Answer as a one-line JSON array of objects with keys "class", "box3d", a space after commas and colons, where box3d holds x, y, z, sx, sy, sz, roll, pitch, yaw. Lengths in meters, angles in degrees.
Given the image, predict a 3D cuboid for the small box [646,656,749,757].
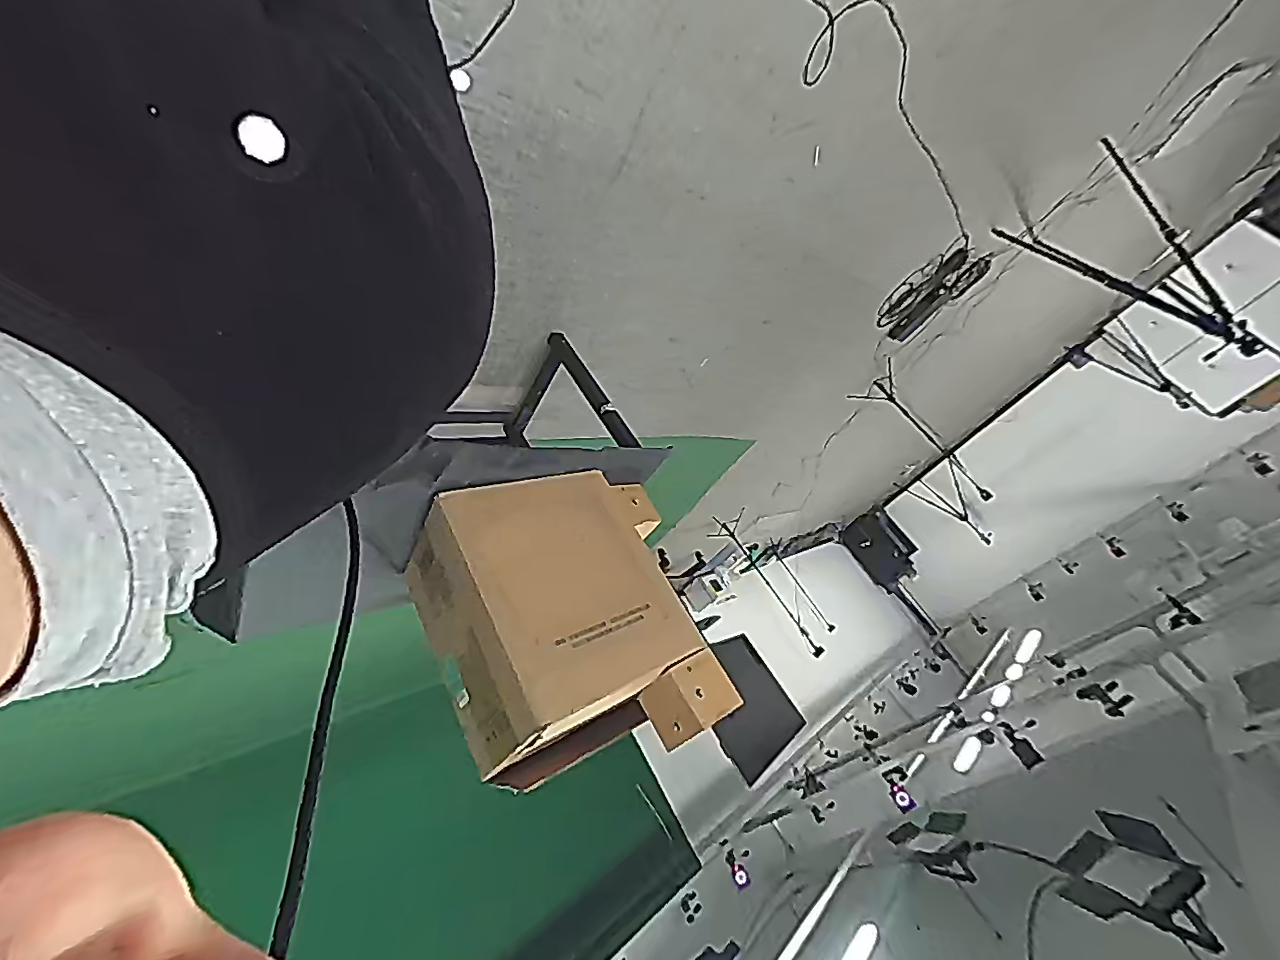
[{"class": "small box", "box3d": [0.142, 0.583, 1.418, 0.168, 0.176, 0.179, -9, 147, -42]}]
